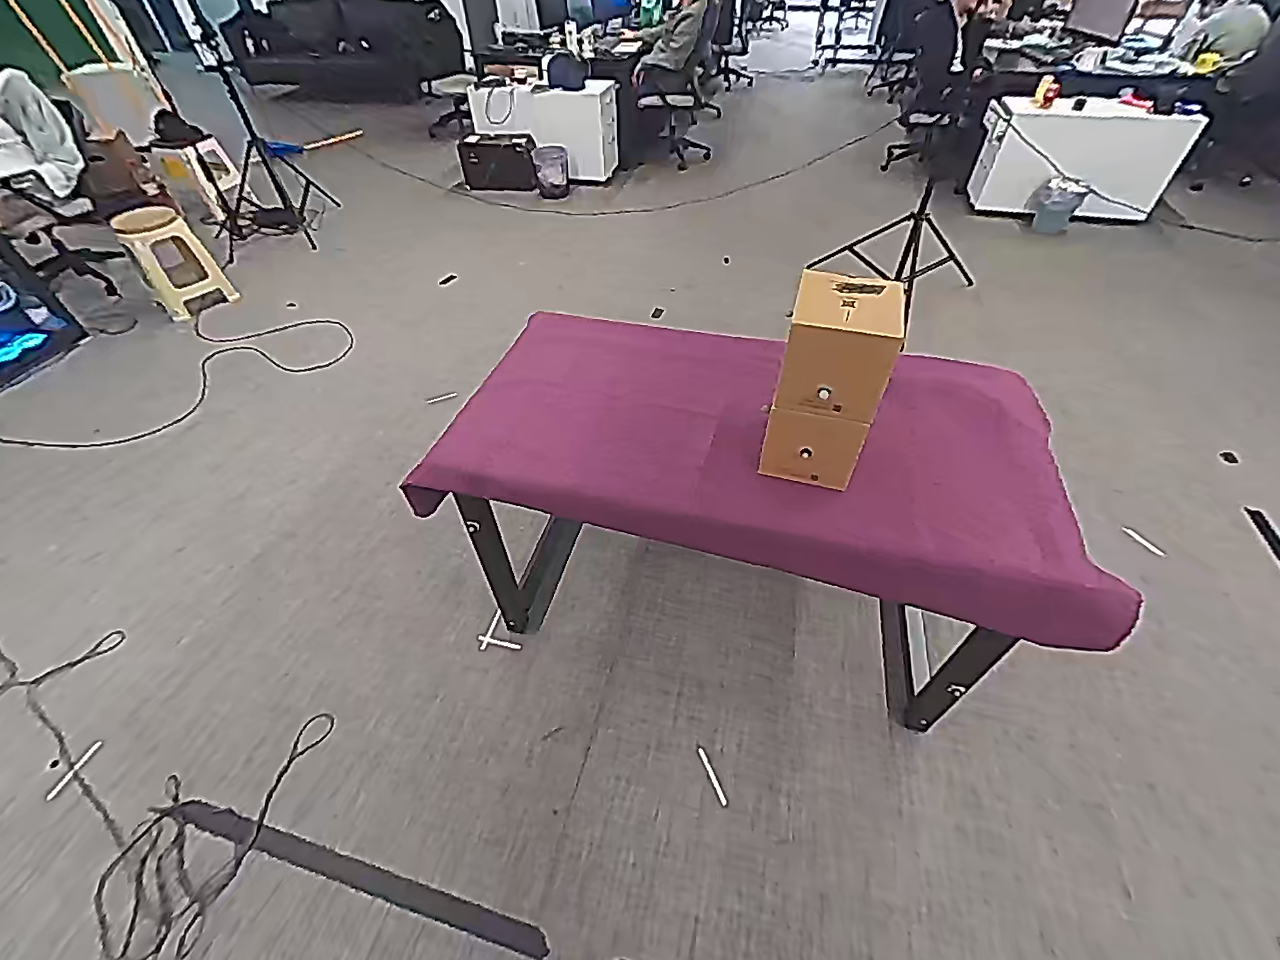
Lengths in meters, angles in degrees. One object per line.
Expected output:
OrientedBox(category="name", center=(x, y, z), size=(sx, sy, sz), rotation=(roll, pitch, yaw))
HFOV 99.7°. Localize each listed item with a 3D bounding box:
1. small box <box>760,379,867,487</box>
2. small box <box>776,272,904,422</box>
OrientedBox(category="small box", center=(0.332, -0.111, 1.035), size=(0.168, 0.176, 0.179), rotation=(13, 48, 12))
OrientedBox(category="small box", center=(0.334, -0.226, 0.918), size=(0.168, 0.176, 0.179), rotation=(12, 49, 13))
